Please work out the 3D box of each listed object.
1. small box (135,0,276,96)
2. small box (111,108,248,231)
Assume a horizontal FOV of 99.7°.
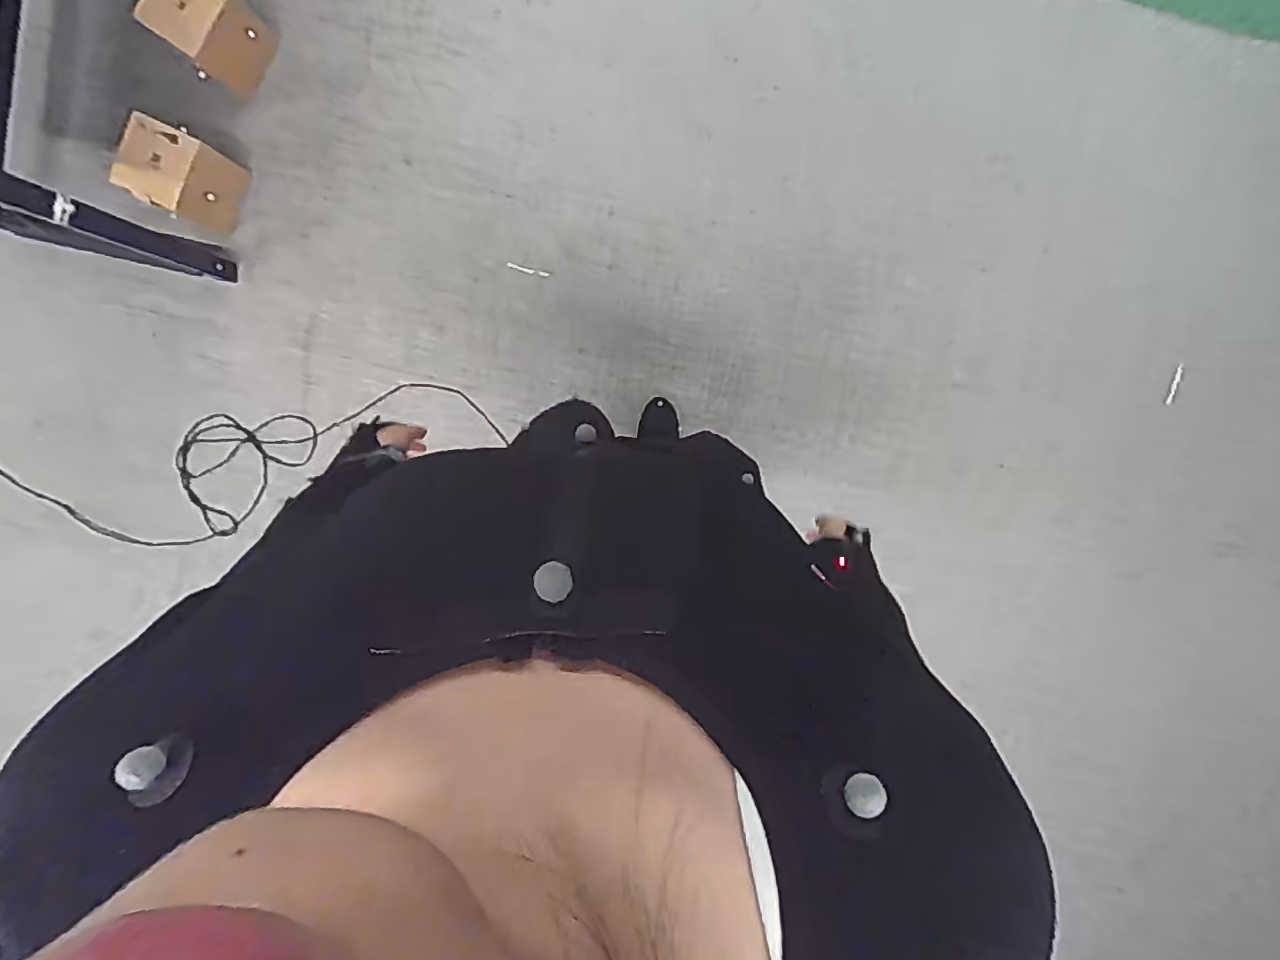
[{"bbox_3d":[-1.012,-1.074,1.280,0.168,0.176,0.179,34,96,-3],"label":"small box"},{"bbox_3d":[-1.107,-0.742,1.316,0.168,0.176,0.179,25,96,-3],"label":"small box"}]
